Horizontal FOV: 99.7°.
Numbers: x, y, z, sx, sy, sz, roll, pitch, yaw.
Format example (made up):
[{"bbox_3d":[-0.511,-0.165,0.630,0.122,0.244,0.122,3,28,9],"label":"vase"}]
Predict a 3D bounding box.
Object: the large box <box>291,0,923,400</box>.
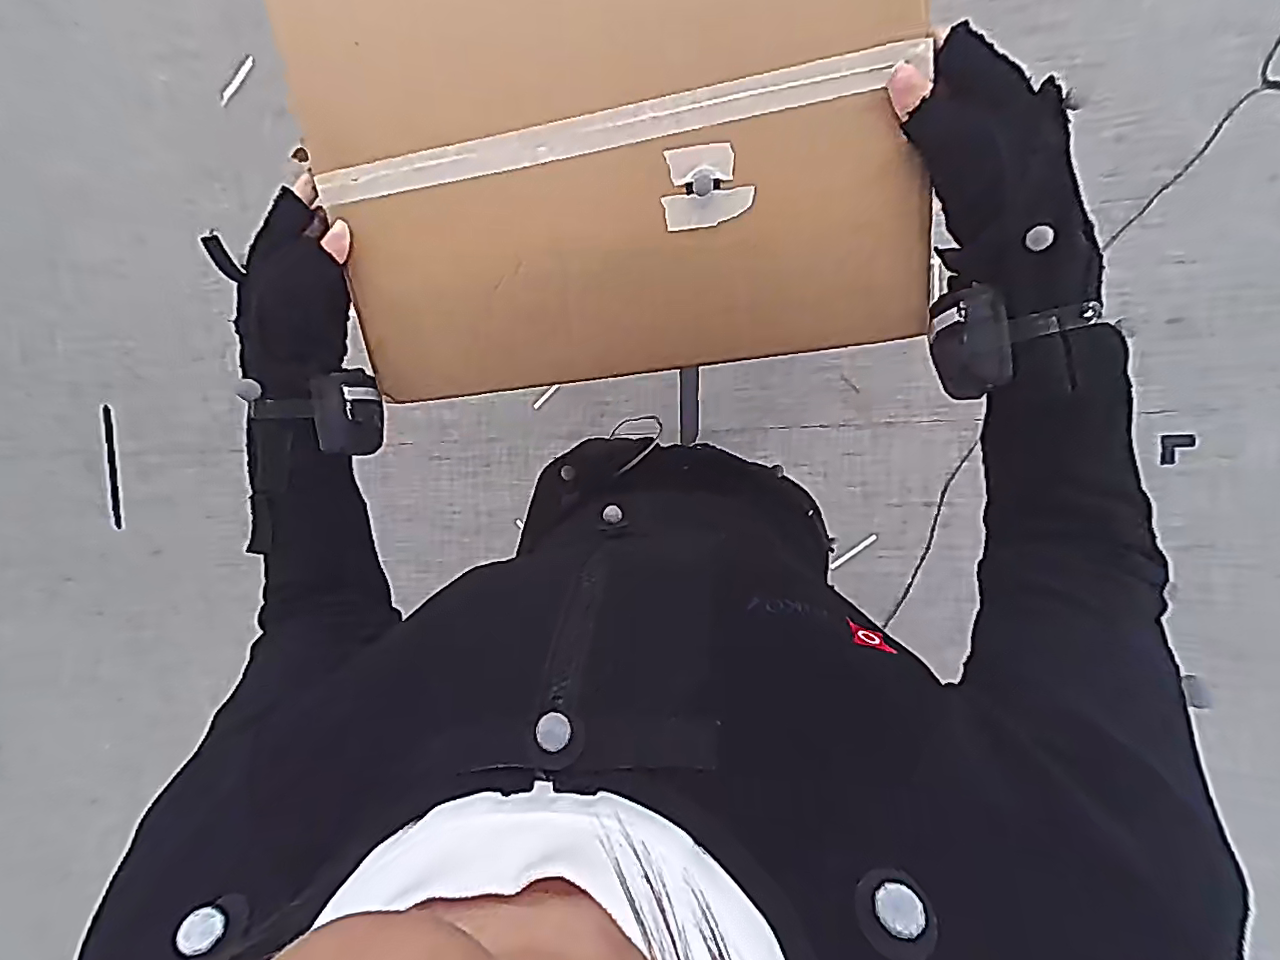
[{"bbox_3d":[-0.005,-0.277,0.505,0.408,0.320,0.320,-6,108,10],"label":"large box"}]
